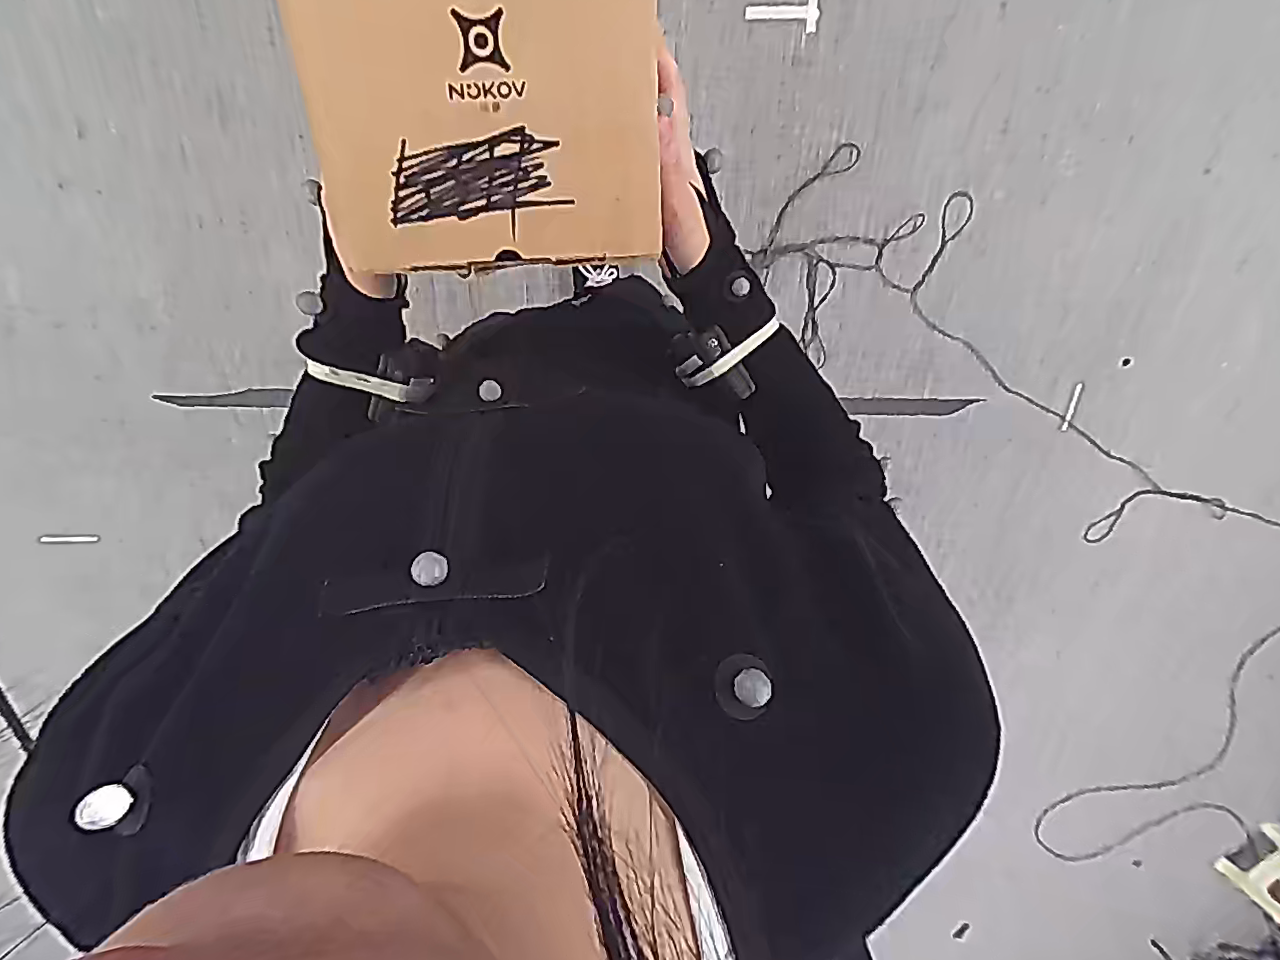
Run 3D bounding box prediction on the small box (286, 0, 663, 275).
[{"bbox_3d":[-0.079,-0.226,0.322,0.168,0.176,0.179,-6,115,-5],"label":"small box"}]
